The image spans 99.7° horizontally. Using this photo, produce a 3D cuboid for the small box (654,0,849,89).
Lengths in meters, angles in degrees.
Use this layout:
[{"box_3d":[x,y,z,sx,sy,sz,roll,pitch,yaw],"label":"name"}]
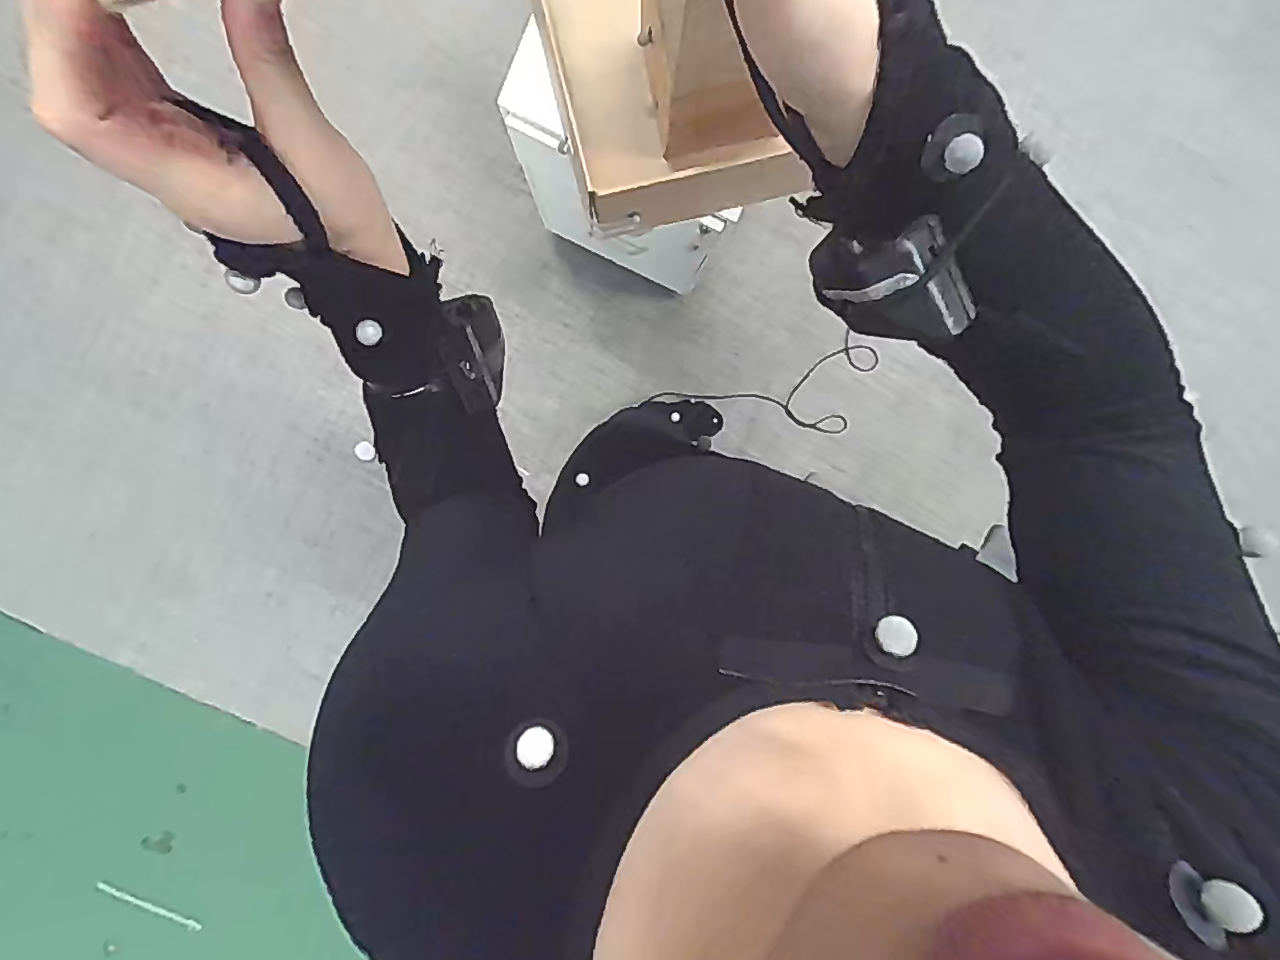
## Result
[{"box_3d":[0.106,-0.524,0.521,0.179,0.176,0.168,-12,96,1],"label":"small box"}]
